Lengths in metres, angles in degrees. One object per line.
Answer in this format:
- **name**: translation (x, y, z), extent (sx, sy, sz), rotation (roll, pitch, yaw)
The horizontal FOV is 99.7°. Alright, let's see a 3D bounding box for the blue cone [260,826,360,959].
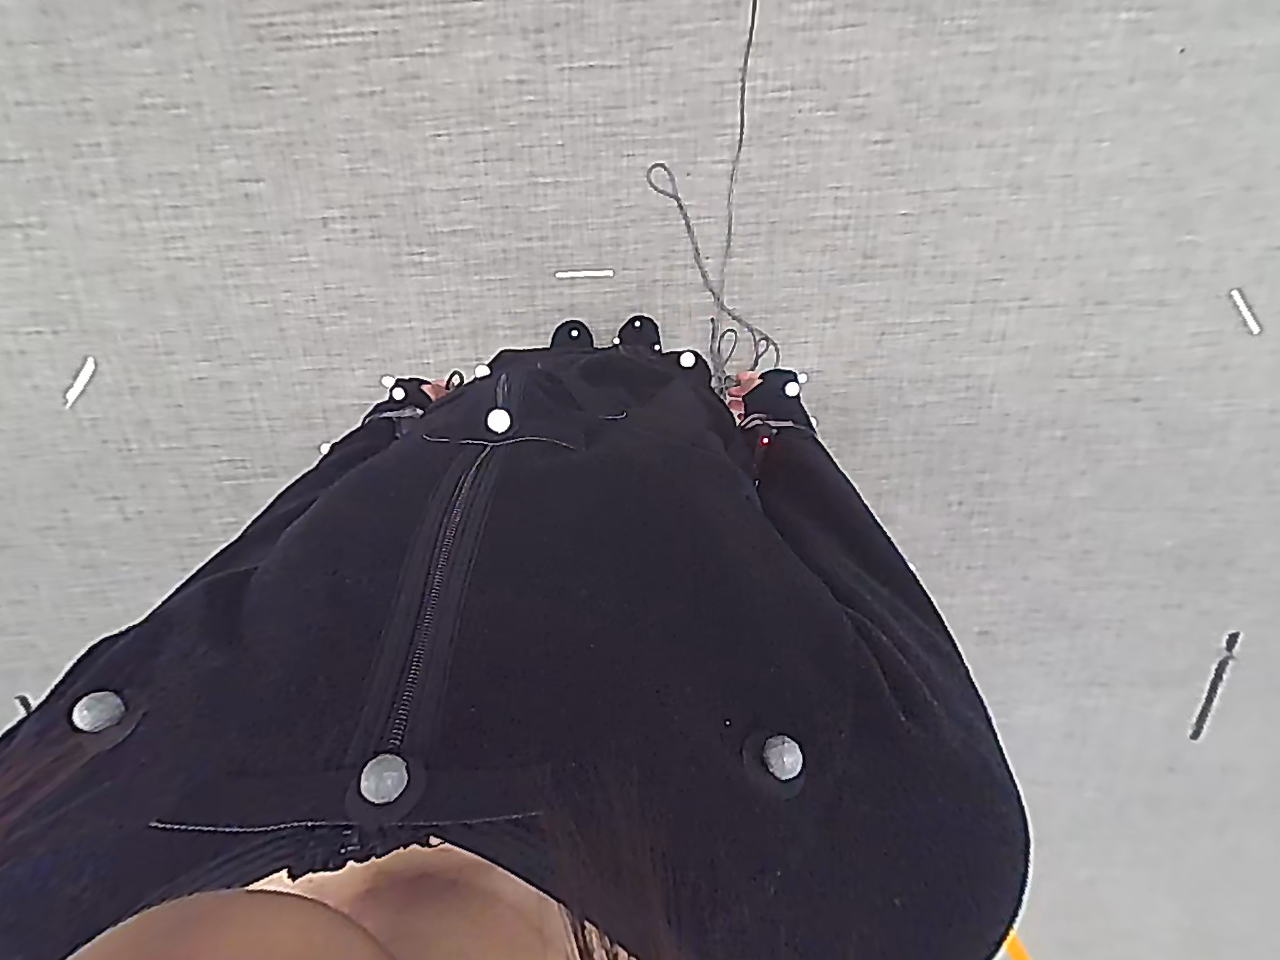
- **blue cone**: translation (-1.072, 1.331, 1.722), extent (0.193, 0.380, 0.192), rotation (1, 108, 0)
